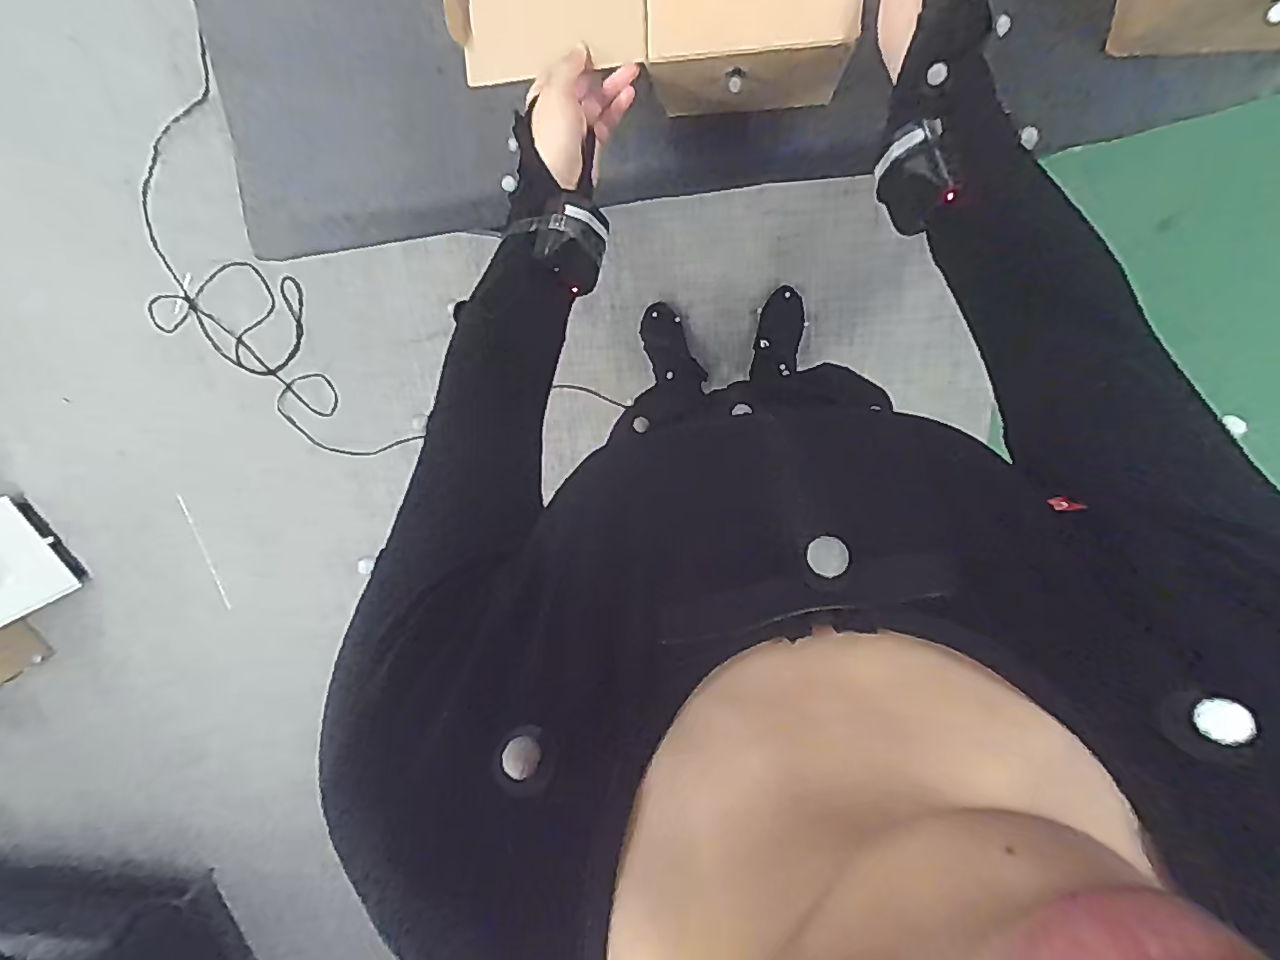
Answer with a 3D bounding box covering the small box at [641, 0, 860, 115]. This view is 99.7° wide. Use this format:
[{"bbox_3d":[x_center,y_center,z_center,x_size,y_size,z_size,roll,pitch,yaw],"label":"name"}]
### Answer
[{"bbox_3d":[0.101,-0.449,0.489,0.179,0.176,0.168,3,113,11],"label":"small box"}]
